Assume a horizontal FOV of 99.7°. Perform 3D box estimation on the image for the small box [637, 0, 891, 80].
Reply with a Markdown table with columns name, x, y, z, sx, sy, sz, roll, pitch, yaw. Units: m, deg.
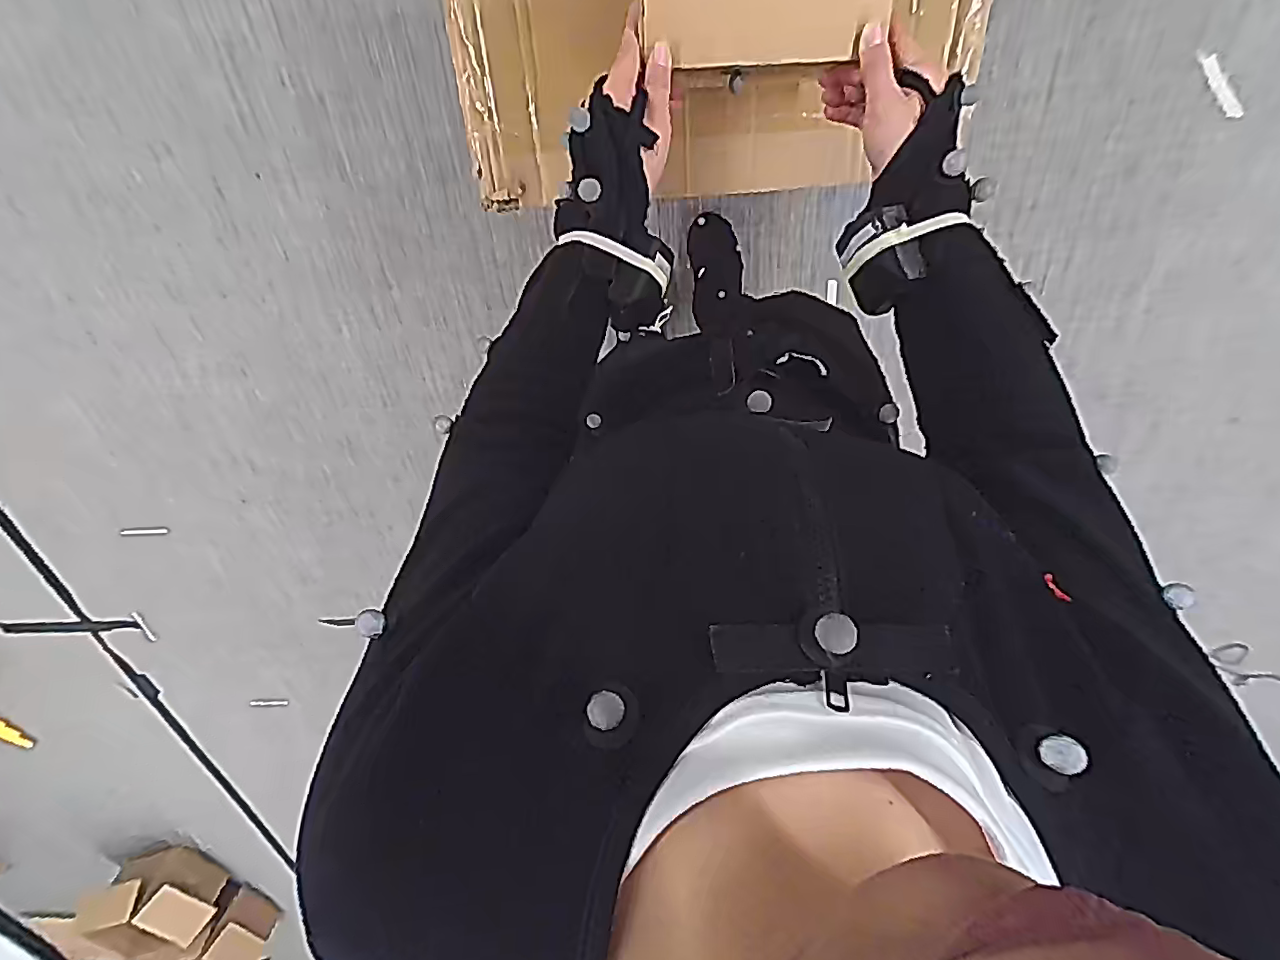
| name | x | y | z | sx | sy | sz | roll | pitch | yaw |
| --- | --- | --- | --- | --- | --- | --- | --- | --- | --- |
| small box | 0.085 | -0.418 | 0.413 | 0.179 | 0.176 | 0.168 | -2 | 122 | 1 |
